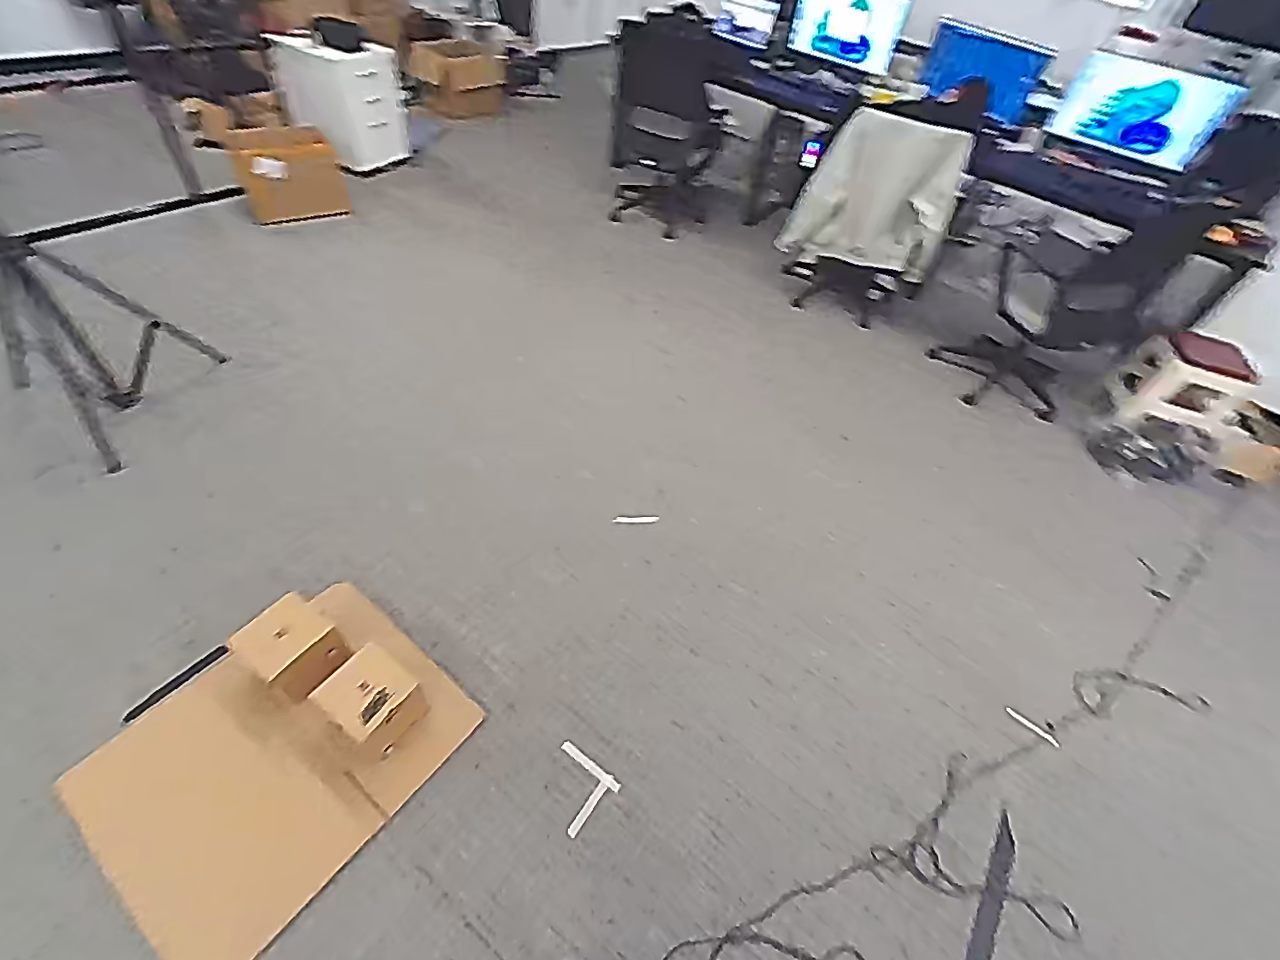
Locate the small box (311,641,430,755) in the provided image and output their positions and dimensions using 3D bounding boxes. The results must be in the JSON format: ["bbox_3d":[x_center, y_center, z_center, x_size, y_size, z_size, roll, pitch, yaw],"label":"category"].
[{"bbox_3d":[-0.633,0.528,1.293,0.179,0.176,0.168,30,51,17],"label":"small box"}]

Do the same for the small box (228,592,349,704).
[{"bbox_3d":[-0.862,0.421,1.351,0.168,0.176,0.179,28,51,16],"label":"small box"}]
